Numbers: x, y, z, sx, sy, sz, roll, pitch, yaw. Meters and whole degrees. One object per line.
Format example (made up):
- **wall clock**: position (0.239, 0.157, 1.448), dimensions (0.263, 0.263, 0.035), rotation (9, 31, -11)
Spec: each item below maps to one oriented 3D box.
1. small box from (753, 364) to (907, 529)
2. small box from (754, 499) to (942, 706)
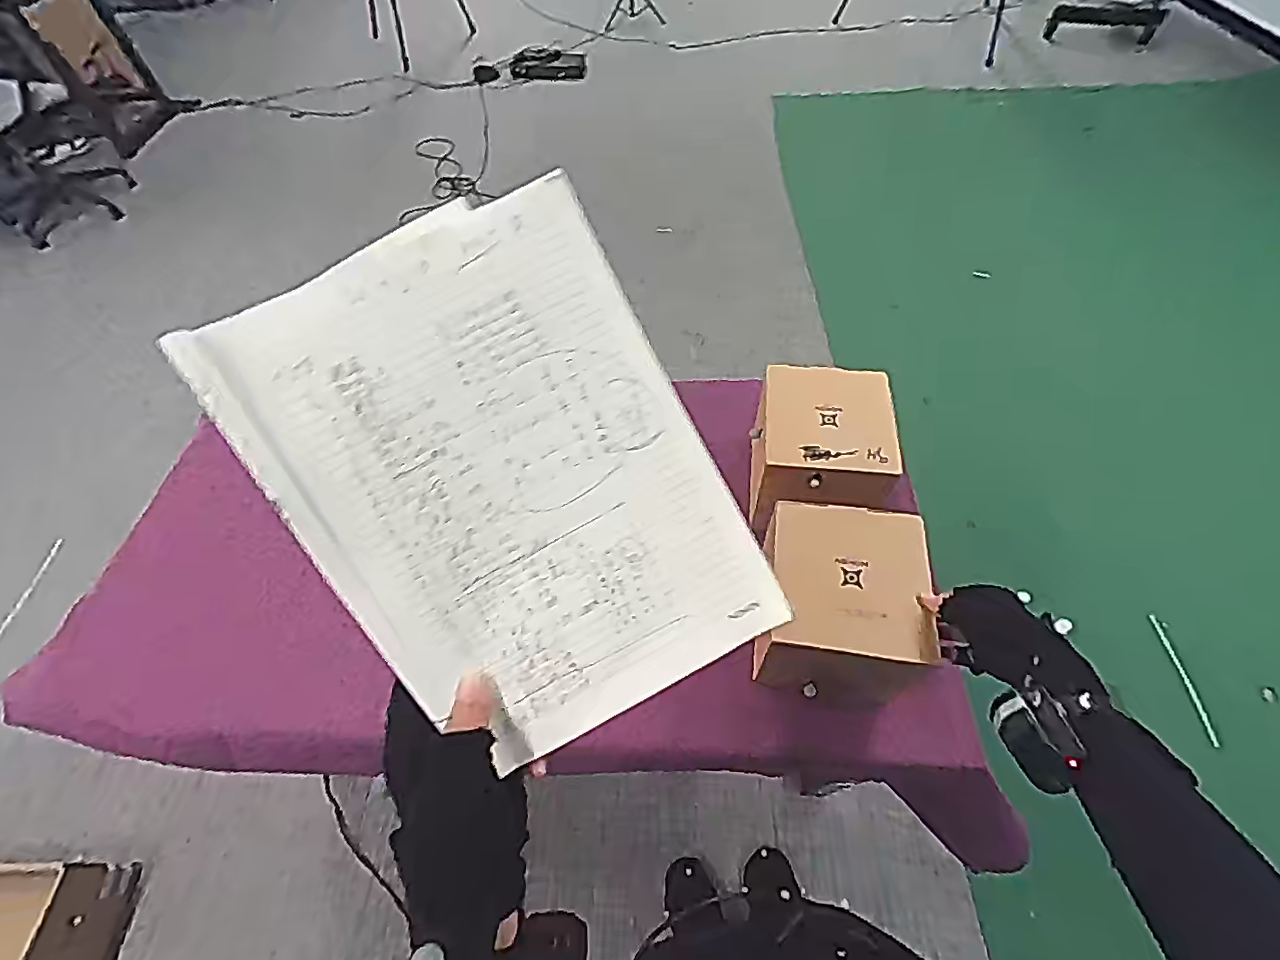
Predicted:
- **small box**: position (0.254, -0.038, 0.766), dimensions (0.168, 0.176, 0.179), rotation (5, 56, 7)
- **small box**: position (0.232, 0.148, 0.644), dimensions (0.168, 0.176, 0.179), rotation (7, 57, 9)
